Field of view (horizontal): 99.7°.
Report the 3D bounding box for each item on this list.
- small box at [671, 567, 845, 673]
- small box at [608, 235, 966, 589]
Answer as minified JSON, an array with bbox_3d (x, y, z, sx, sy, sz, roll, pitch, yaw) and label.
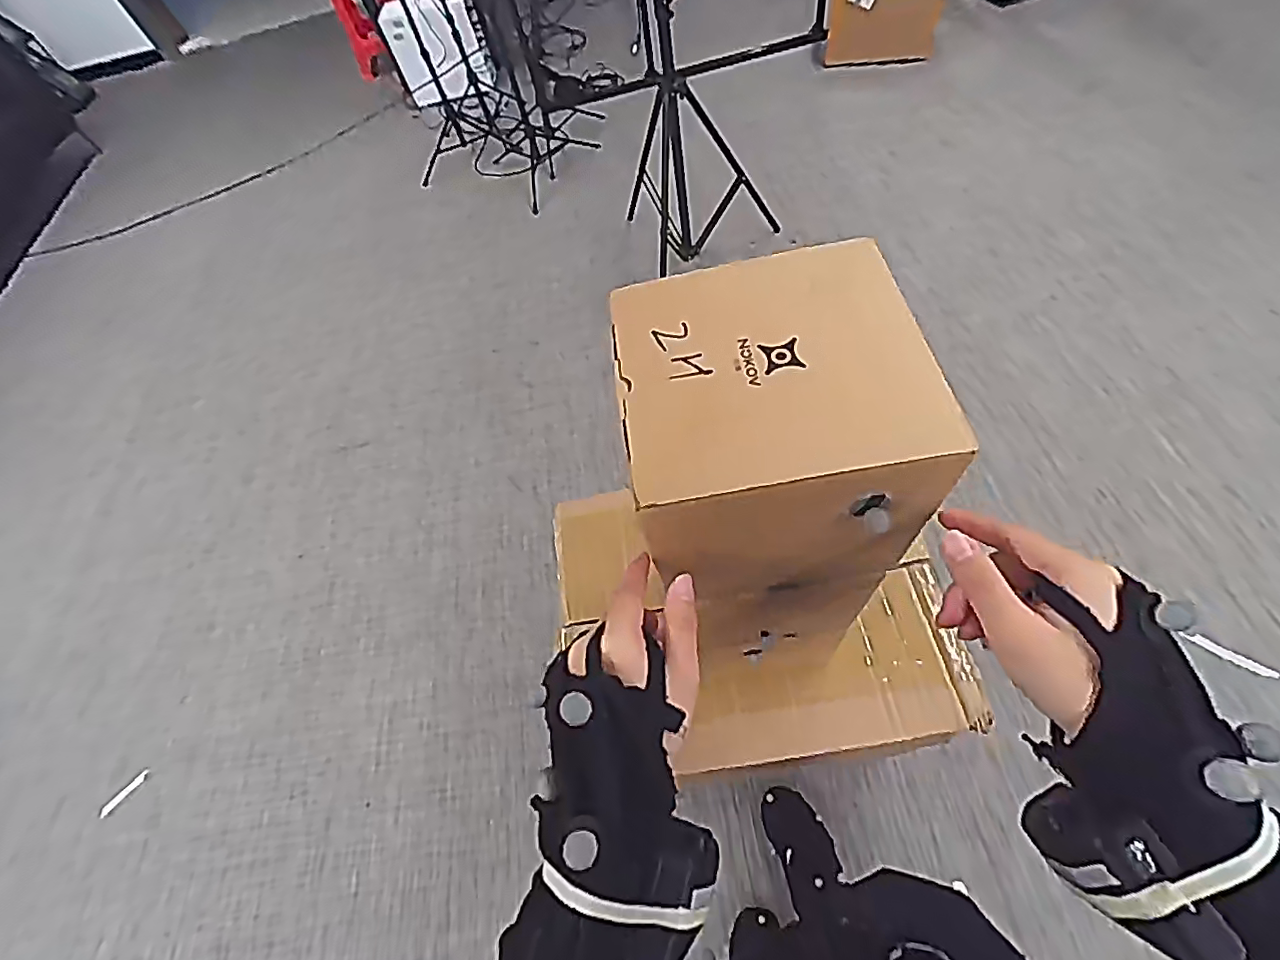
[{"bbox_3d":[0.131,0.131,0.665,0.179,0.176,0.168,-10,59,5],"label":"small box"},{"bbox_3d":[0.083,-0.035,0.384,0.179,0.176,0.168,-10,59,5],"label":"small box"}]
